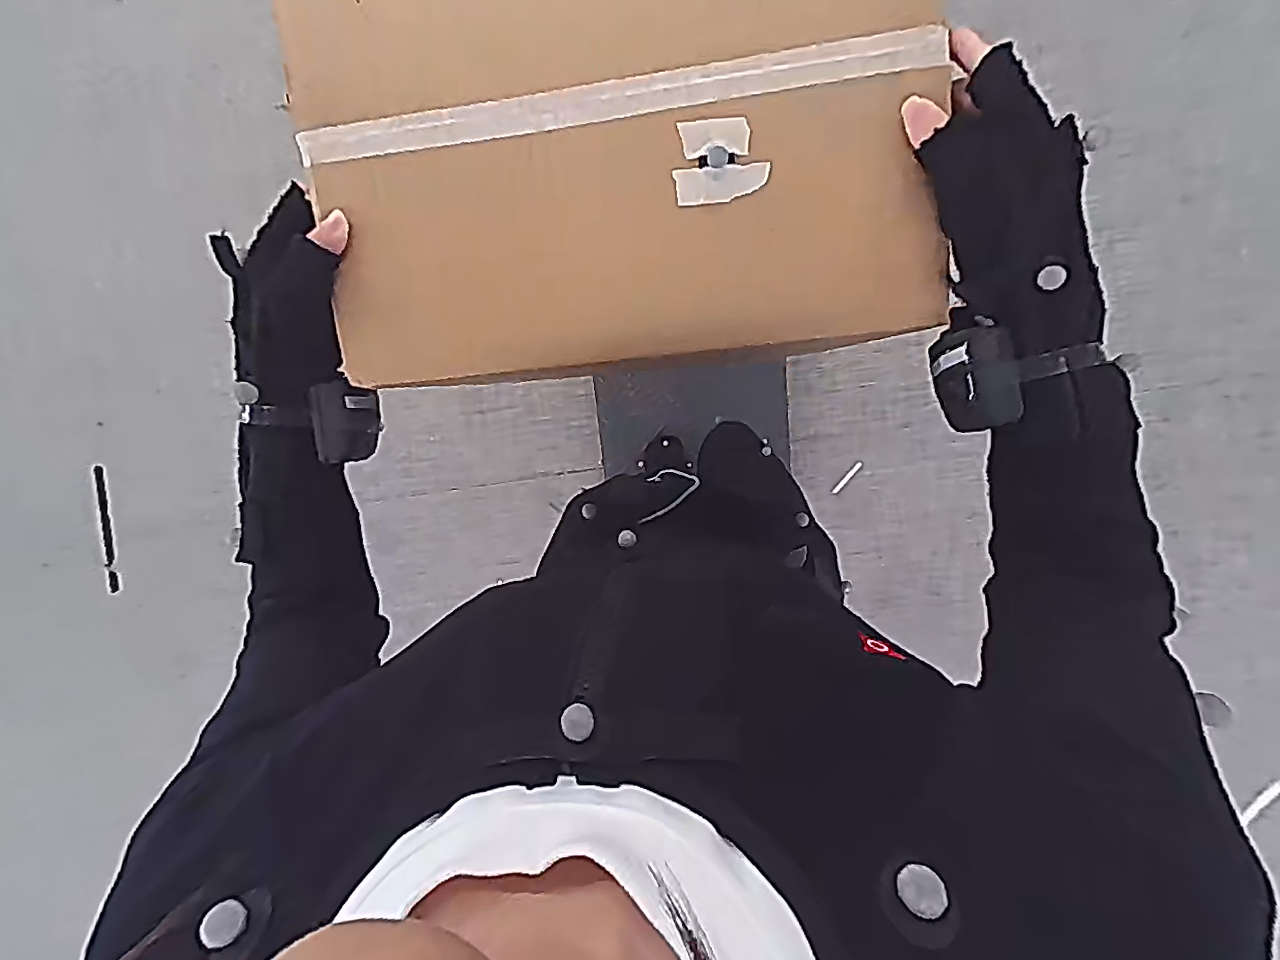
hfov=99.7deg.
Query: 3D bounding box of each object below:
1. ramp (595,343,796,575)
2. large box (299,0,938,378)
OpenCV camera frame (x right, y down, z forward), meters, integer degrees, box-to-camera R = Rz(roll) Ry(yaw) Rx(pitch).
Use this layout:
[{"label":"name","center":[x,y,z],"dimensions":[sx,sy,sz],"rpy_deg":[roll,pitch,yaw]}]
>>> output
[{"label":"ramp","center":[0.135,-0.234,1.386],"dimensions":[0.509,0.206,0.991],"rpy_deg":[-6,93,6]},{"label":"large box","center":[-0.007,-0.272,0.495],"dimensions":[0.408,0.320,0.320],"rpy_deg":[-5,101,6]}]
